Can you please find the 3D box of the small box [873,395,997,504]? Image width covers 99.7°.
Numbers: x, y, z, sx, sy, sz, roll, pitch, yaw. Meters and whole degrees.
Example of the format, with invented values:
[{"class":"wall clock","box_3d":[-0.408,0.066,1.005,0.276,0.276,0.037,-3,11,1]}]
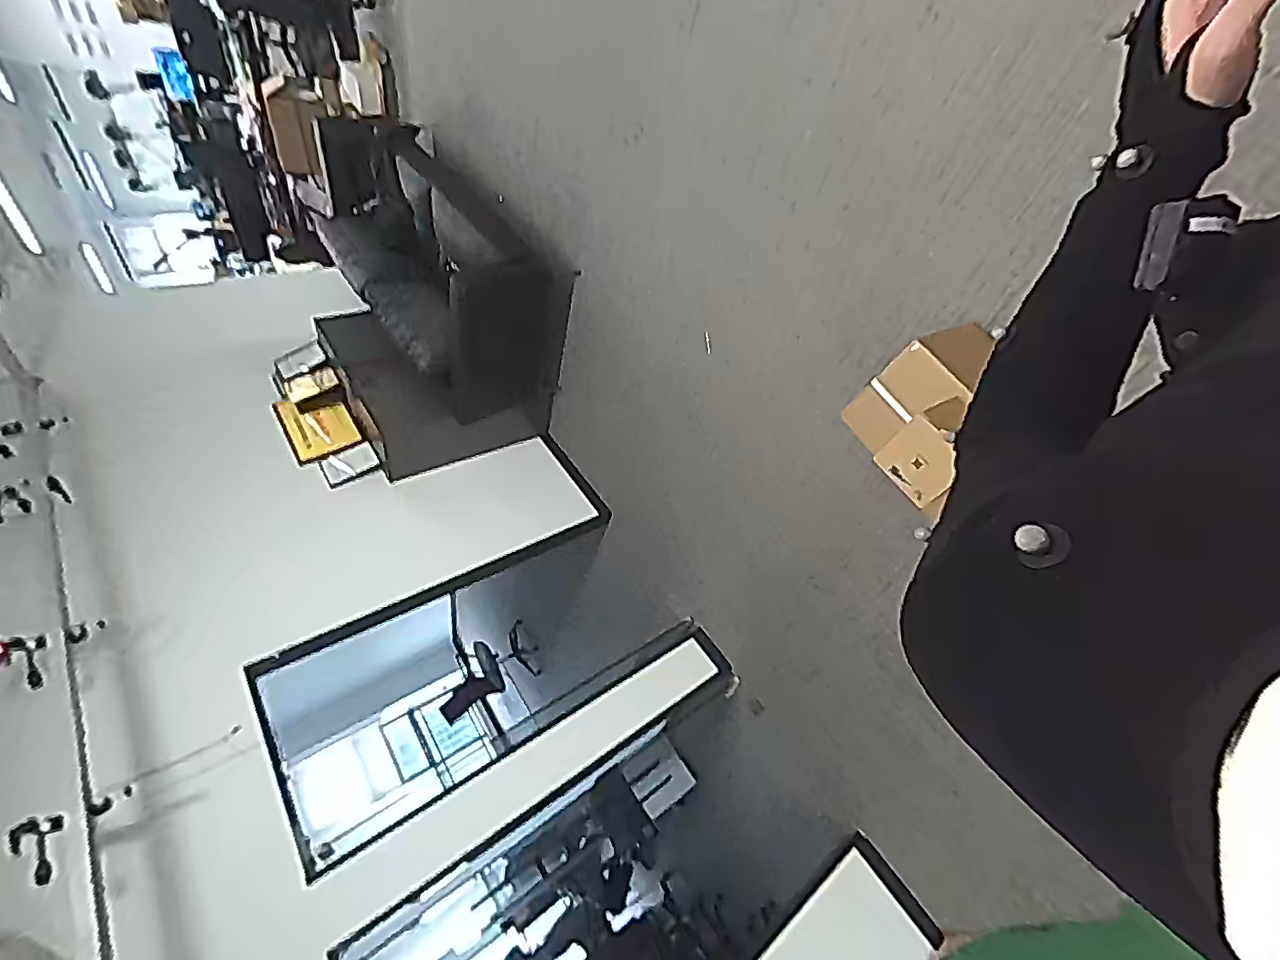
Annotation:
[{"class":"small box","box_3d":[0.707,-0.078,1.287,0.168,0.176,0.179,53,143,21]}]
